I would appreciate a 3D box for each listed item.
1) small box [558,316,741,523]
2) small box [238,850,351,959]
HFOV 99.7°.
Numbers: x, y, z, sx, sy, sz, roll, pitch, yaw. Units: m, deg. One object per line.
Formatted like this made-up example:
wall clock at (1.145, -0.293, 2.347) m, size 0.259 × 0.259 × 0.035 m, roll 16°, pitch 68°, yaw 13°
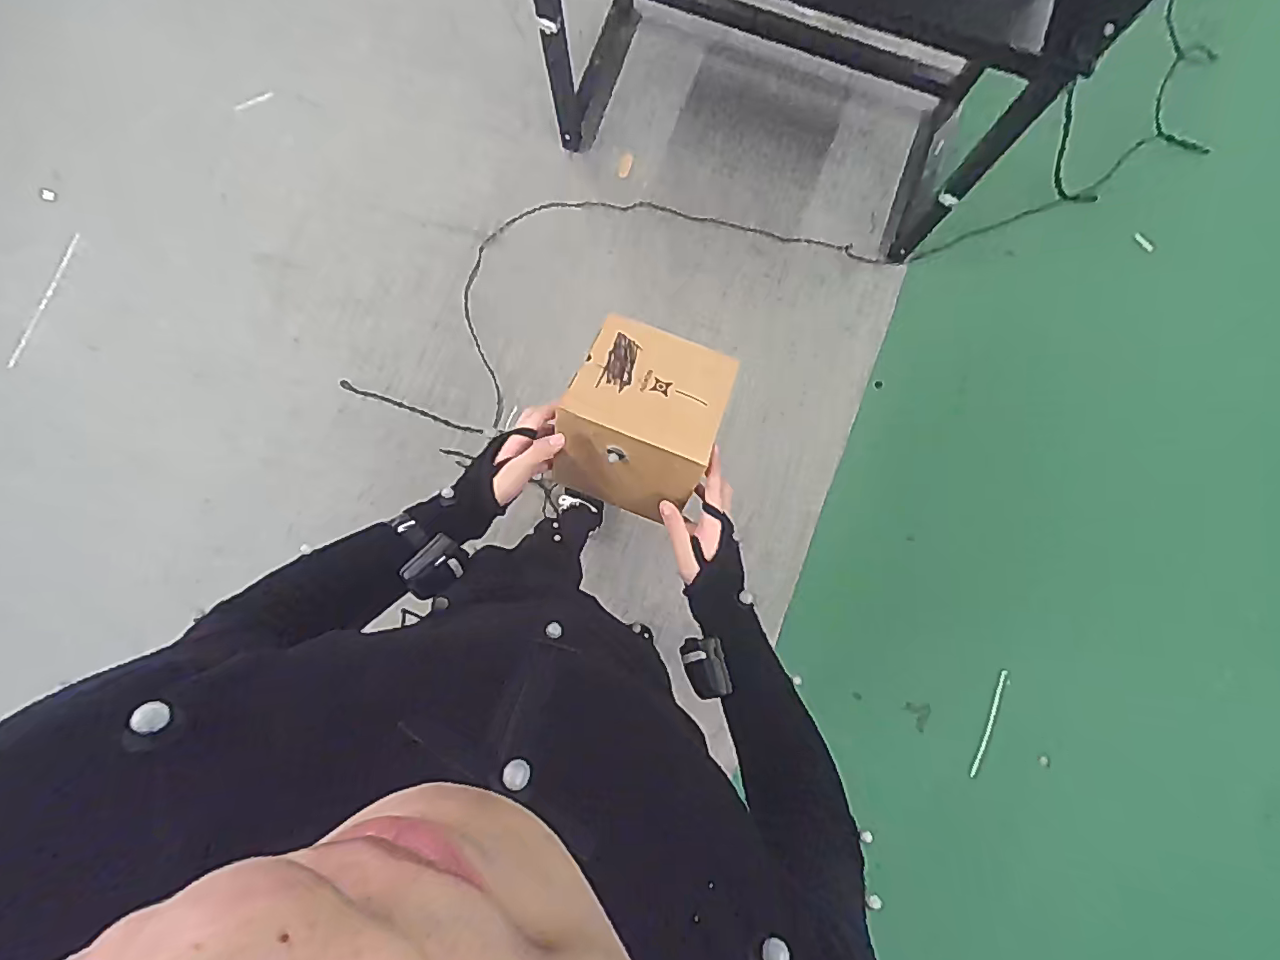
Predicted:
small box at (0.004, -0.067, 0.684) m, size 0.179 × 0.176 × 0.168 m, roll 21°, pitch 59°, yaw 1°
small box at (-0.860, 1.076, 1.367) m, size 0.168 × 0.176 × 0.179 m, roll 7°, pitch 83°, yaw 0°
